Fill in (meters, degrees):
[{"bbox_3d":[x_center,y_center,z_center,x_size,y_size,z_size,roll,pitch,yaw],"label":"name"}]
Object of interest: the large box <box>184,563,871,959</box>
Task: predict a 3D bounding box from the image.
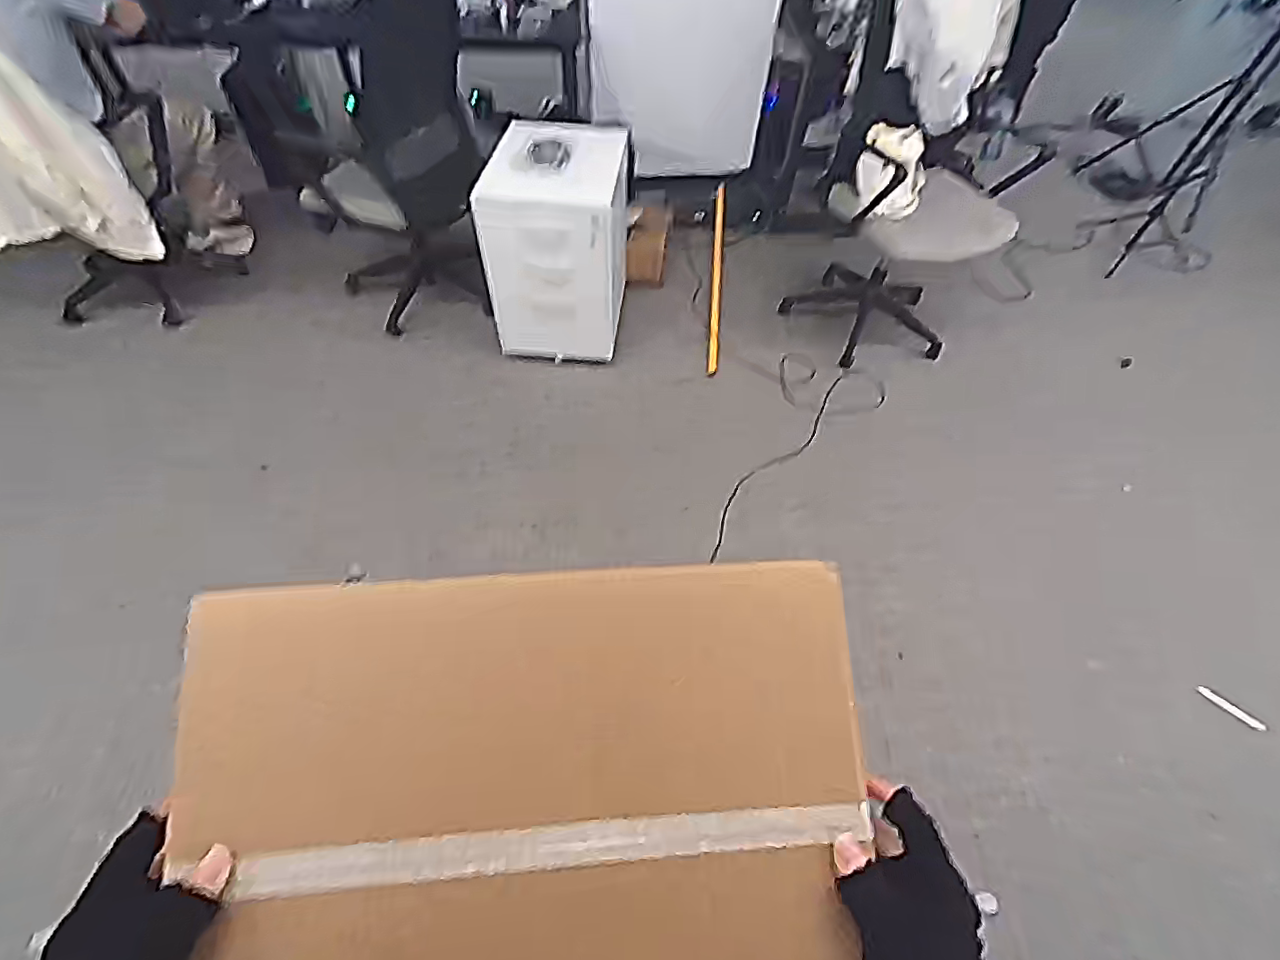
[{"bbox_3d":[-0.072,0.248,0.474,0.408,0.320,0.320,-3,80,-3],"label":"large box"}]
